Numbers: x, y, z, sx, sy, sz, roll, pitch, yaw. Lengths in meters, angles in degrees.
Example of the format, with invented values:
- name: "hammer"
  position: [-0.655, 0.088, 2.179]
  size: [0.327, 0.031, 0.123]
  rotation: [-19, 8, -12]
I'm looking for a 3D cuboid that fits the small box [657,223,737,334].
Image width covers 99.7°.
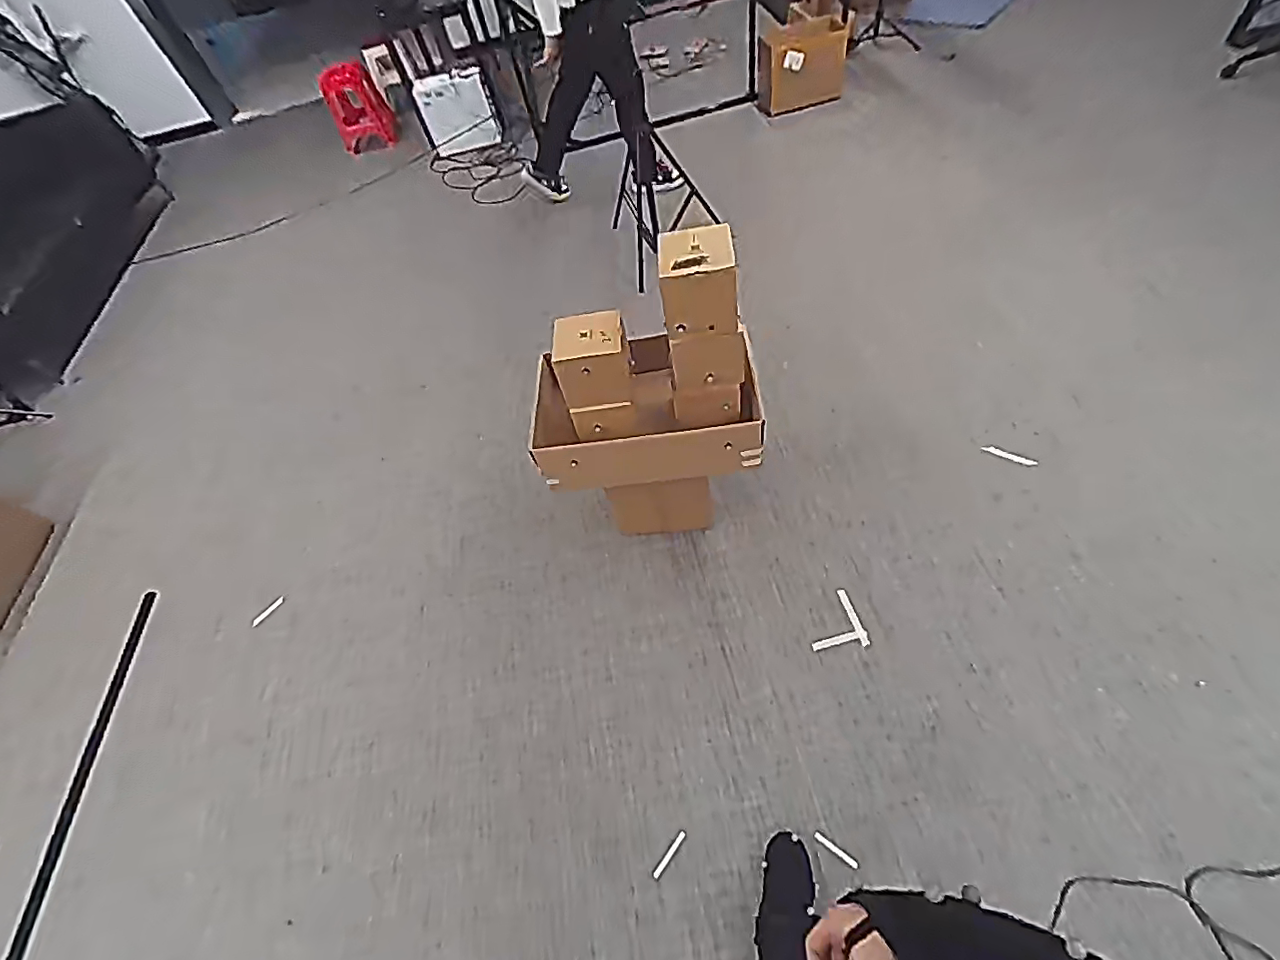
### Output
- name: "small box"
  position: [0.131, -0.452, 1.237]
  size: [0.168, 0.176, 0.179]
  rotation: [-5, 54, 8]

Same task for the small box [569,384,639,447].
- name: "small box"
  position: [-0.098, -0.207, 1.523]
  size: [0.168, 0.176, 0.179]
  rotation: [-8, 53, 5]

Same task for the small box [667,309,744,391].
- name: "small box"
  position: [0.160, -0.346, 1.361]
  size: [0.179, 0.176, 0.168]
  rotation: [-8, 54, 5]

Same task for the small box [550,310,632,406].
- name: "small box"
  position: [-0.120, -0.308, 1.395]
  size: [0.179, 0.176, 0.168]
  rotation: [-6, 54, 6]
